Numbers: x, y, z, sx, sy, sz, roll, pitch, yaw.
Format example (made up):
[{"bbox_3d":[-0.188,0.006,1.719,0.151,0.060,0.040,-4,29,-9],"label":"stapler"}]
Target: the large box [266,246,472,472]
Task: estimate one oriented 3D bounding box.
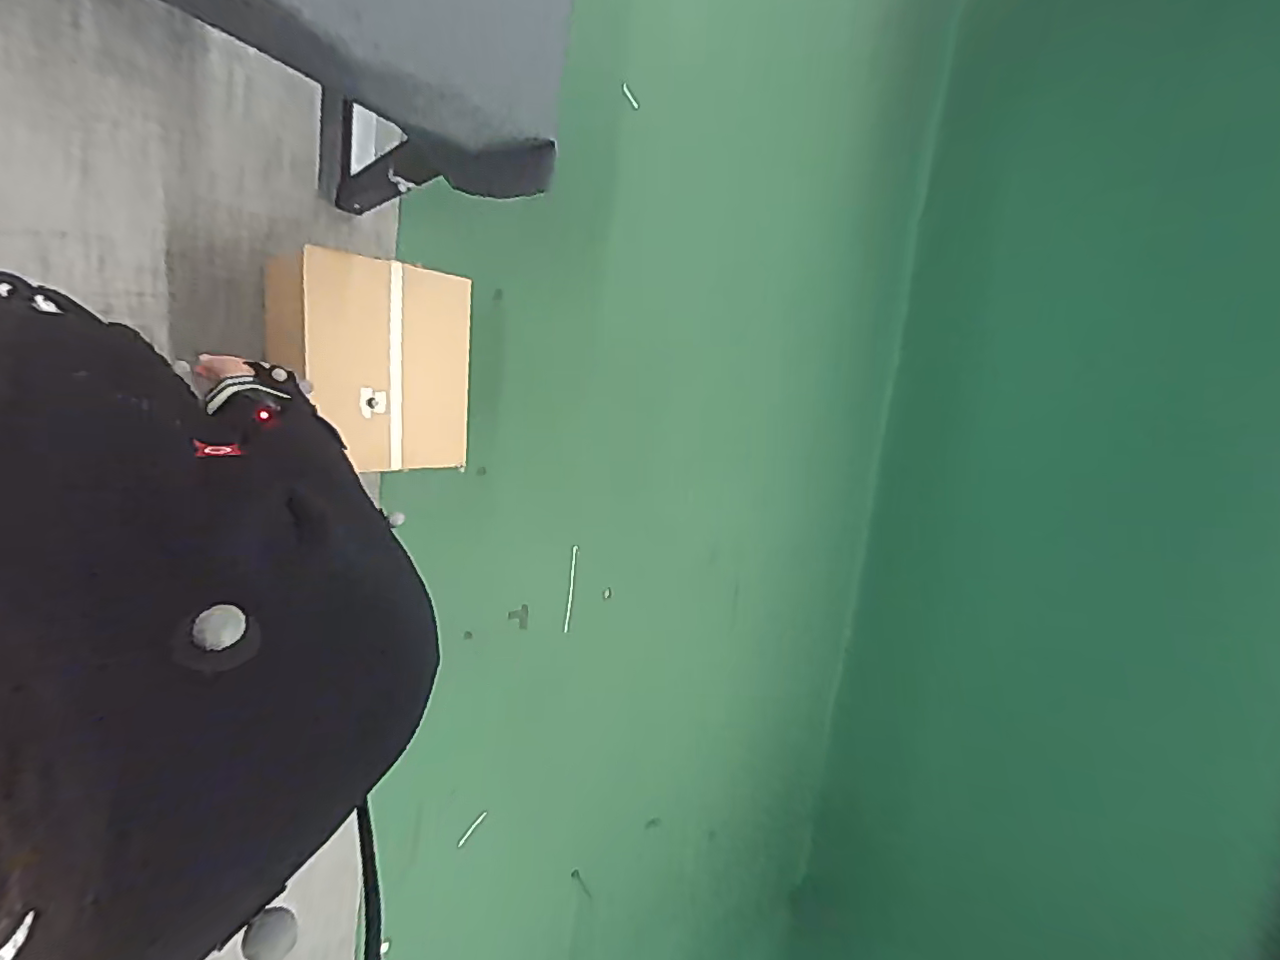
[{"bbox_3d":[-0.580,-0.248,1.162,0.320,0.320,0.408,-5,104,-44],"label":"large box"}]
